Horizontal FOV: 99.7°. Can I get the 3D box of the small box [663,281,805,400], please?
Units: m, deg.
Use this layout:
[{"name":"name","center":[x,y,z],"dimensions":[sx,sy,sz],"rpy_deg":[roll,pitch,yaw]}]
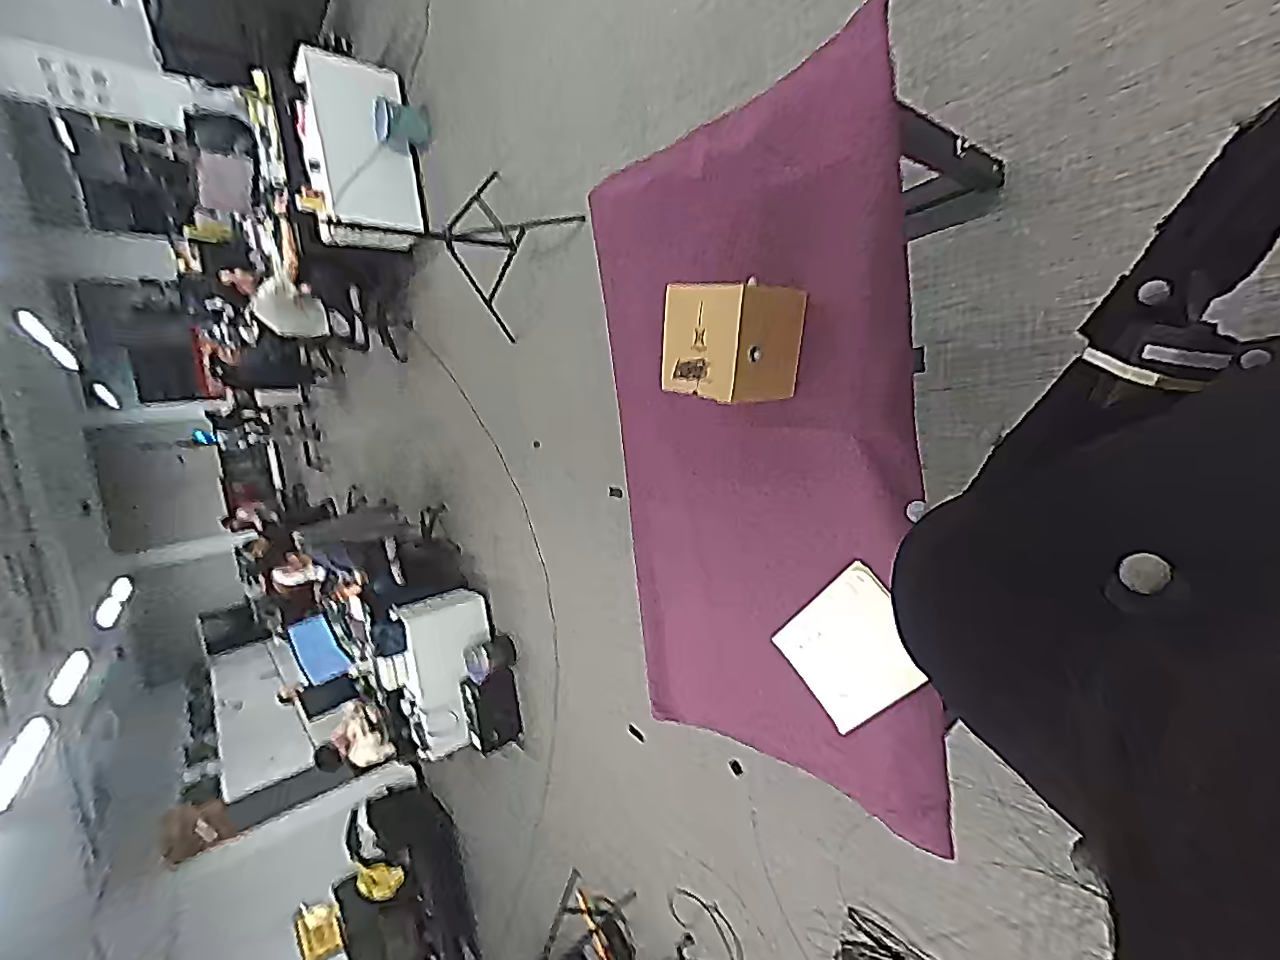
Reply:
[{"name":"small box","center":[0.157,-0.238,0.912],"dimensions":[0.168,0.176,0.179],"rpy_deg":[22,116,47]}]
